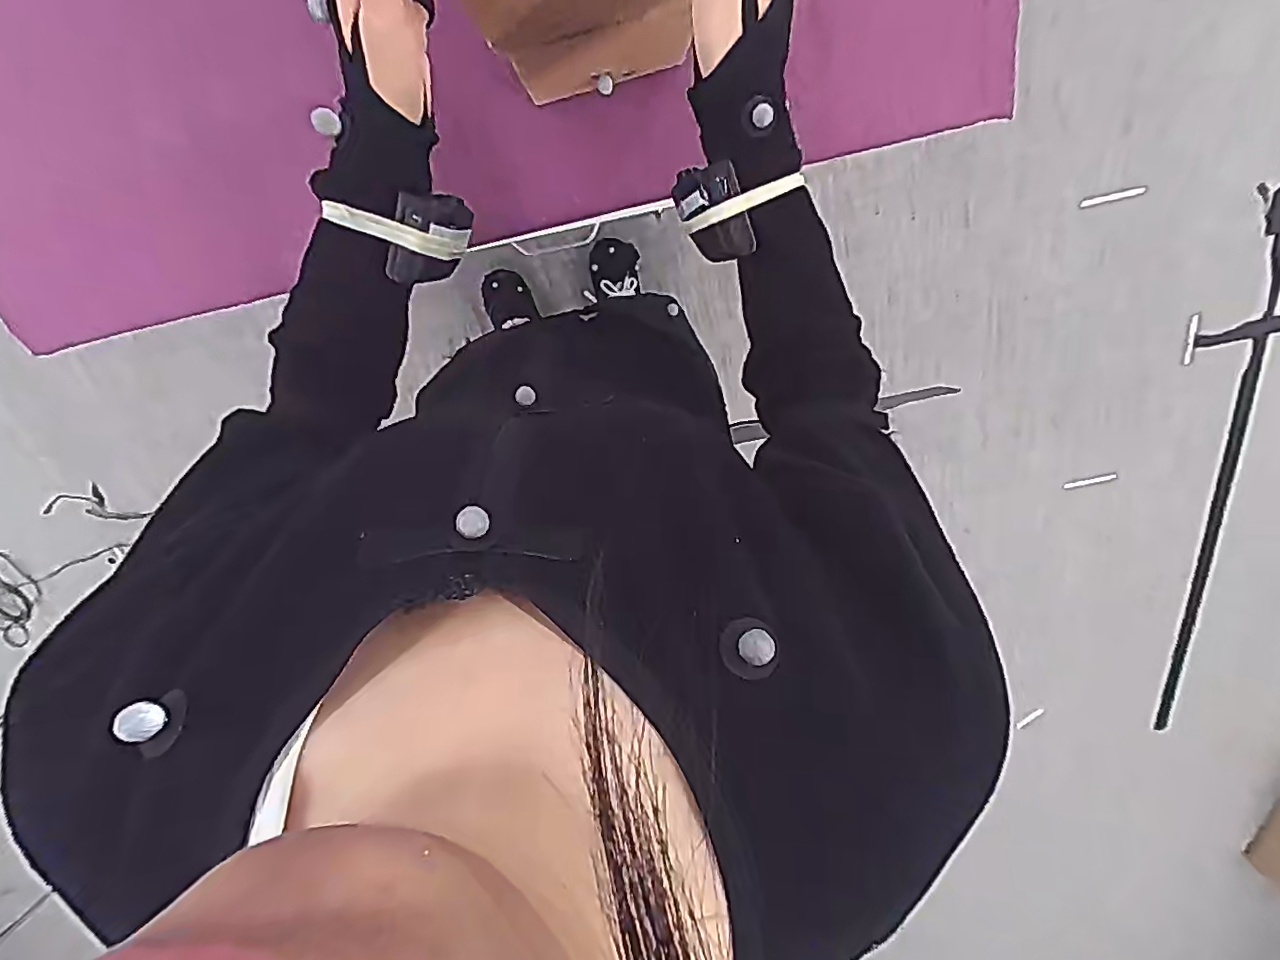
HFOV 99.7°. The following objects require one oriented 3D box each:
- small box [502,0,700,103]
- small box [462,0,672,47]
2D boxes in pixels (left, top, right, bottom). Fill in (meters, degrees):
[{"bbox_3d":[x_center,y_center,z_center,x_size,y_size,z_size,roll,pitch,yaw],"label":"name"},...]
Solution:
[{"bbox_3d":[-0.053,-0.469,0.476,0.168,0.176,0.179,-13,114,4],"label":"small box"},{"bbox_3d":[-0.048,-0.404,0.327,0.179,0.176,0.168,-12,114,4],"label":"small box"}]
